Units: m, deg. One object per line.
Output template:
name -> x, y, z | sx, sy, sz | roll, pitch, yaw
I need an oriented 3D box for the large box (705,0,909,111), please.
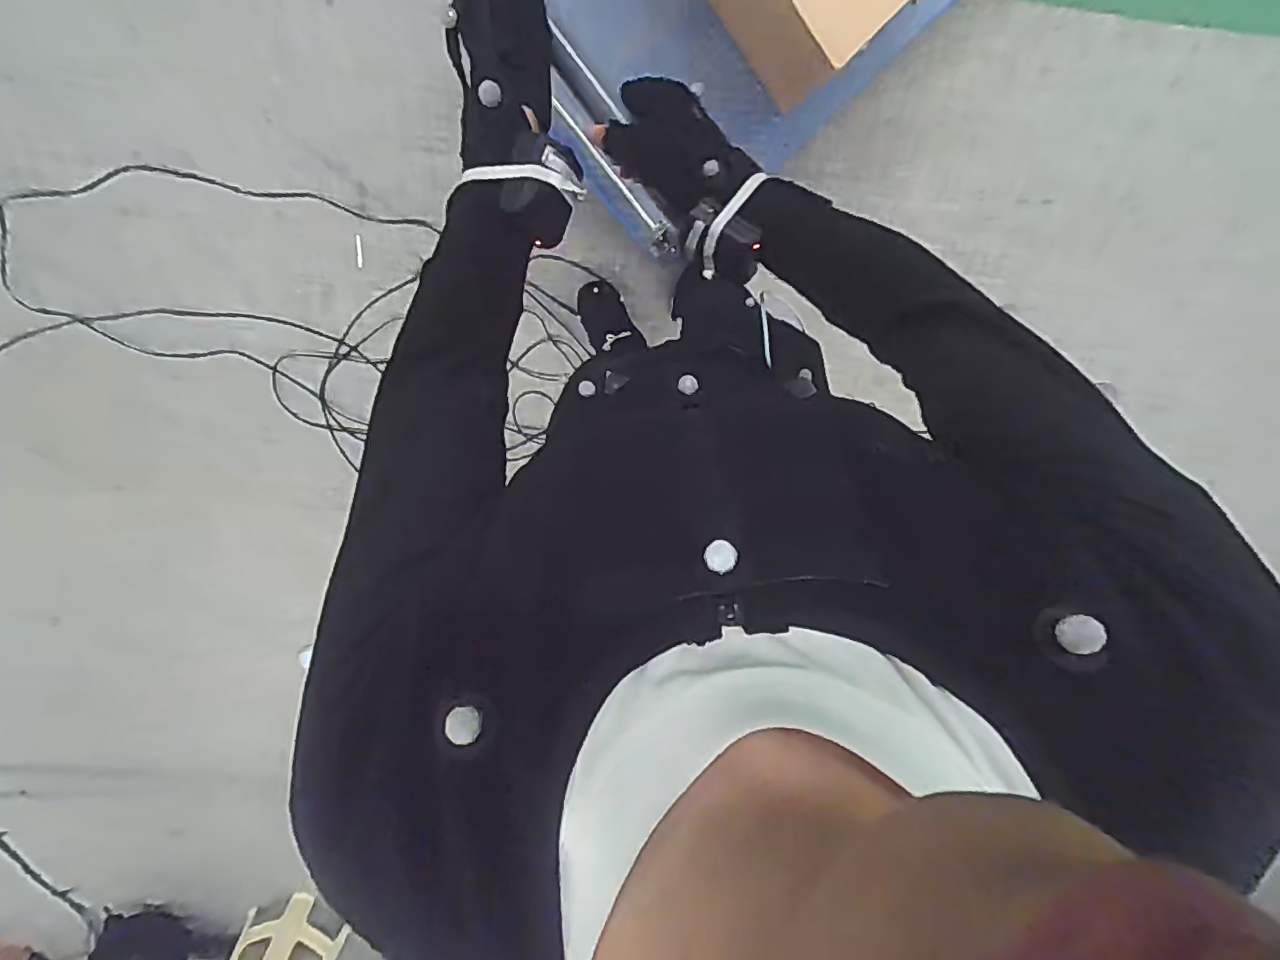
large box -> 0.252, -0.863, 0.802 | 0.320, 0.320, 0.408 | -40, 108, 16
